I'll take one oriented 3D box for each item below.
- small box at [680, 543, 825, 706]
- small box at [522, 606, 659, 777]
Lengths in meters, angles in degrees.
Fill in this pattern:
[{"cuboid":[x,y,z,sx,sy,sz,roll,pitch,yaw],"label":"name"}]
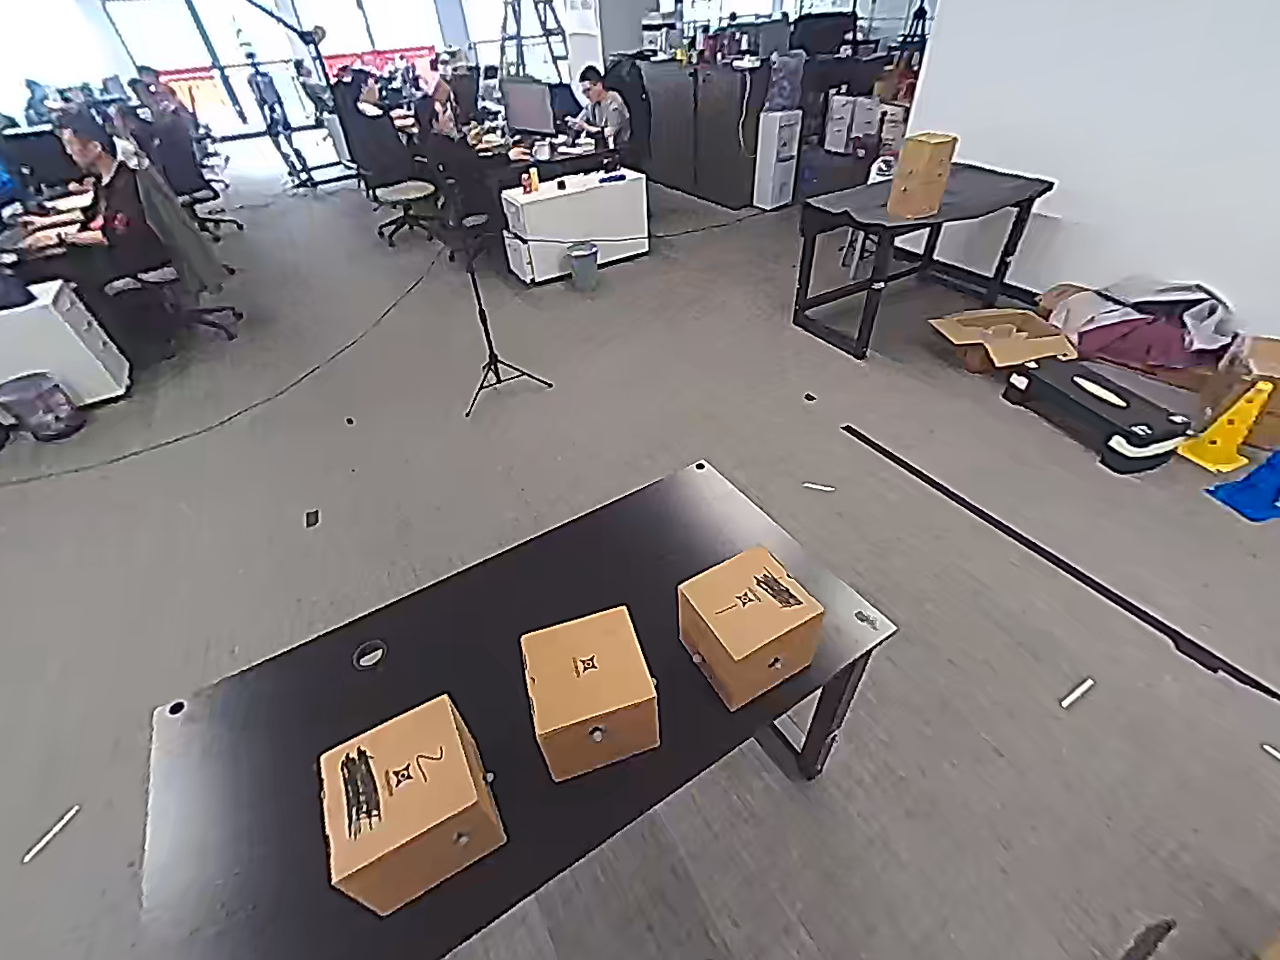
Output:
[{"cuboid":[0.182,0.246,0.924,0.179,0.176,0.168,-24,44,-18],"label":"small box"},{"cuboid":[-0.075,0.334,0.854,0.179,0.176,0.168,-15,42,-11],"label":"small box"}]
